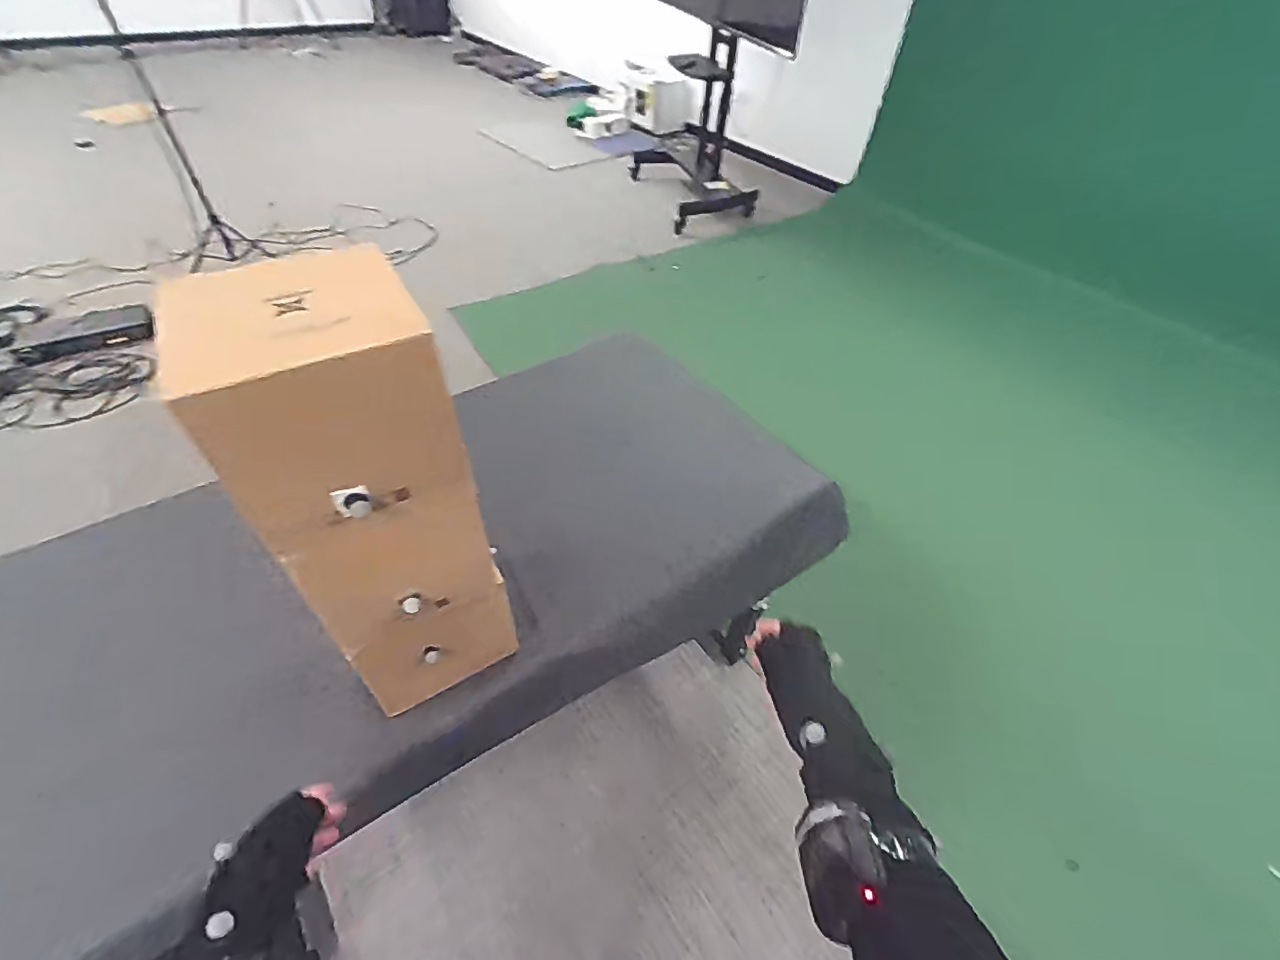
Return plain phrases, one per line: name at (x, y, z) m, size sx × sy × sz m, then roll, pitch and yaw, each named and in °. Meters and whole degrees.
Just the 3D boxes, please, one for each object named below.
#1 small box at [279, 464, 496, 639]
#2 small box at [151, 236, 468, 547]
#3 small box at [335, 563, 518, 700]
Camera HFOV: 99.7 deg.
small box at (-0.272, 0.032, 0.578) m, size 0.168 × 0.176 × 0.179 m, roll -24°, pitch 51°, yaw -24°
small box at (-0.265, -0.077, 0.458) m, size 0.168 × 0.176 × 0.179 m, roll -24°, pitch 53°, yaw -21°
small box at (-0.276, 0.147, 0.695) m, size 0.179 × 0.176 × 0.168 m, roll -25°, pitch 53°, yaw -23°
